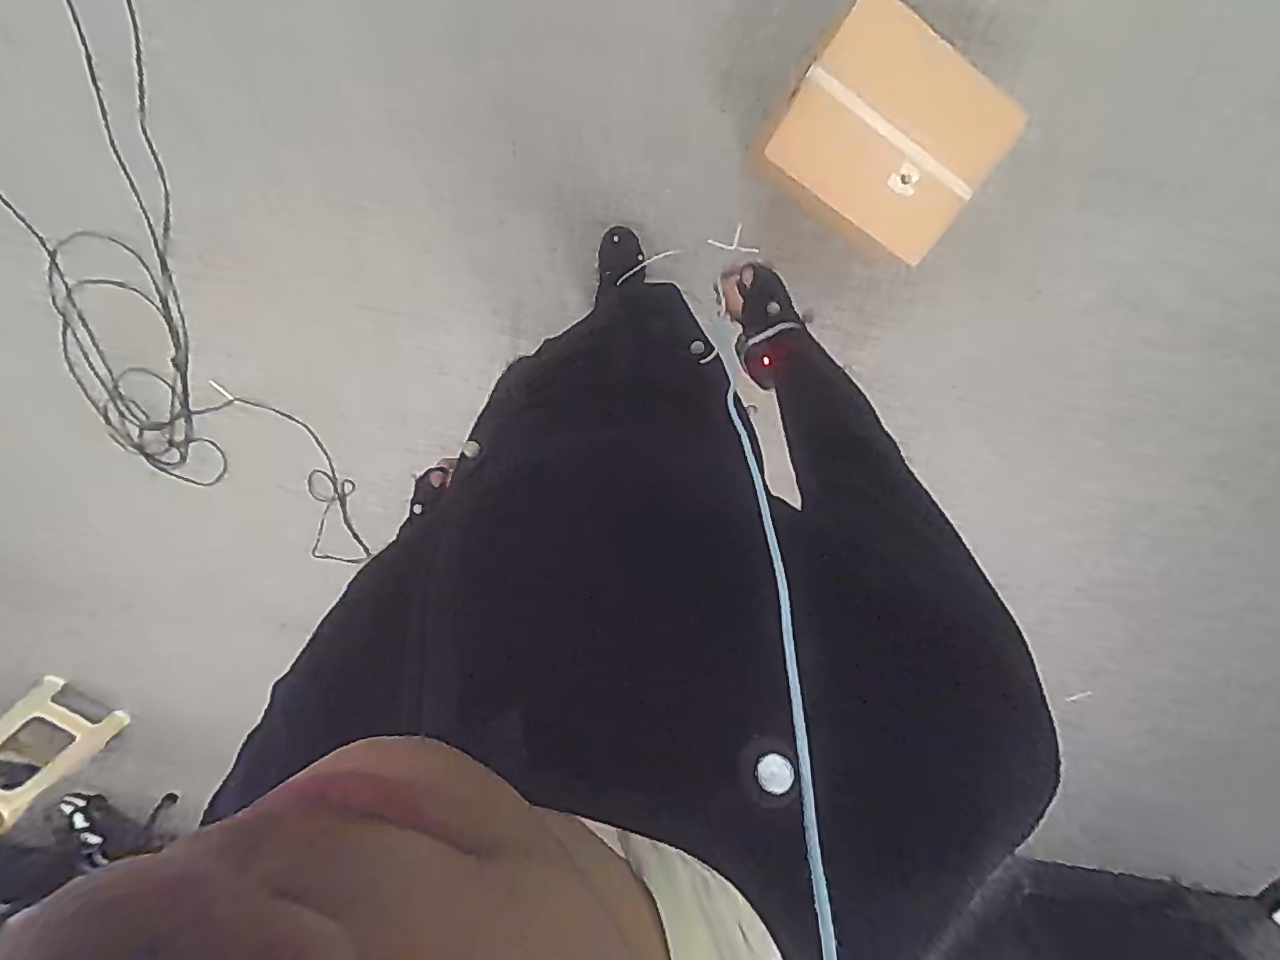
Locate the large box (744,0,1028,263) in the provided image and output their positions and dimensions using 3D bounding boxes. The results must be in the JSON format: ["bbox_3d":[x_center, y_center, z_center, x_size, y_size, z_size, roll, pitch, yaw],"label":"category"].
[{"bbox_3d":[0.492,-0.729,1.173,0.408,0.320,0.320,29,115,-12],"label":"large box"}]
